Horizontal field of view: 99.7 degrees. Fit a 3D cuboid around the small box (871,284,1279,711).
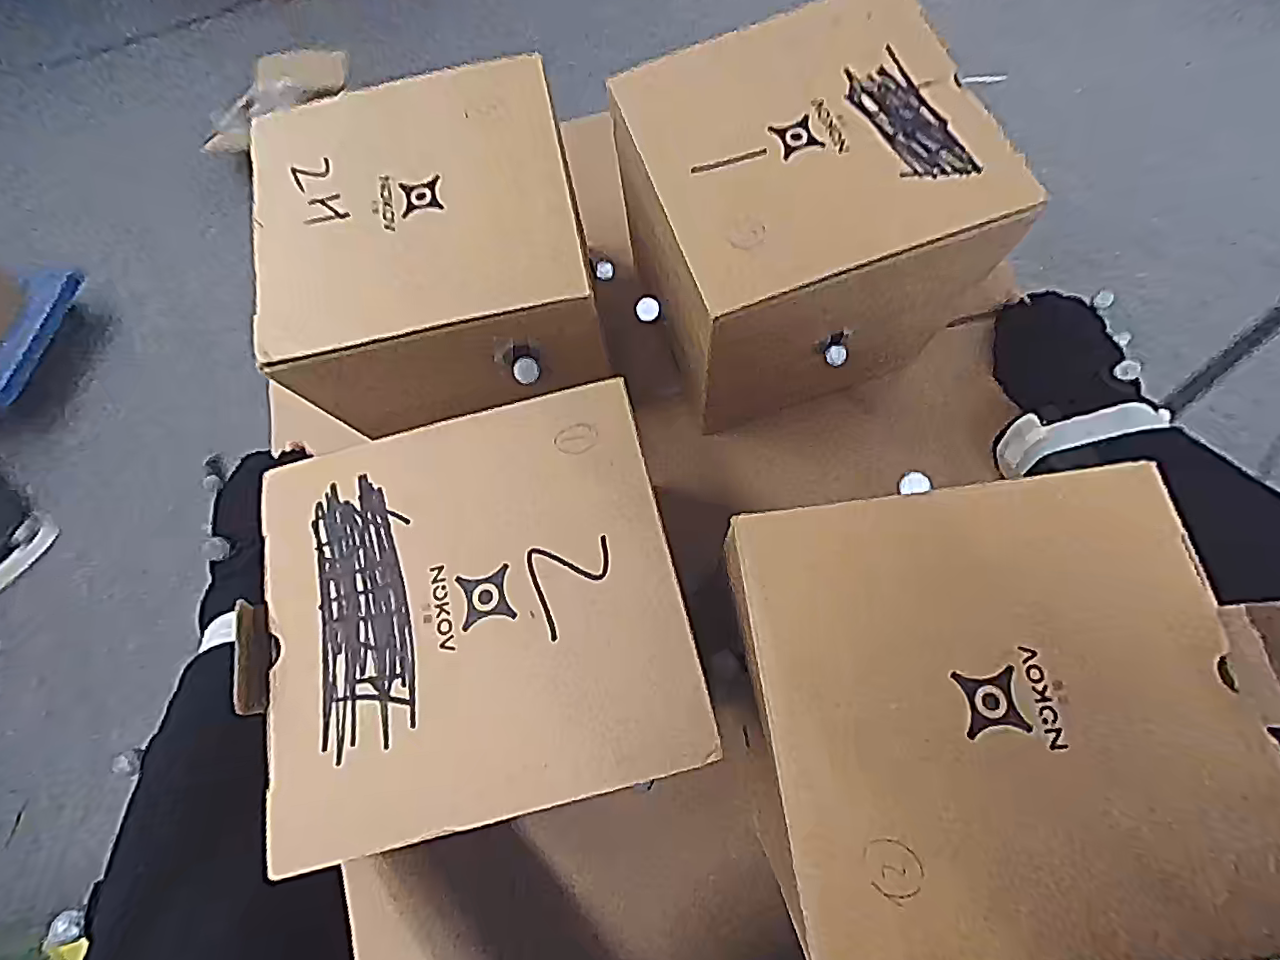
[{"bbox_3d":[0.237,0.017,0.281,0.179,0.176,0.168,5,79,6],"label":"small box"}]
